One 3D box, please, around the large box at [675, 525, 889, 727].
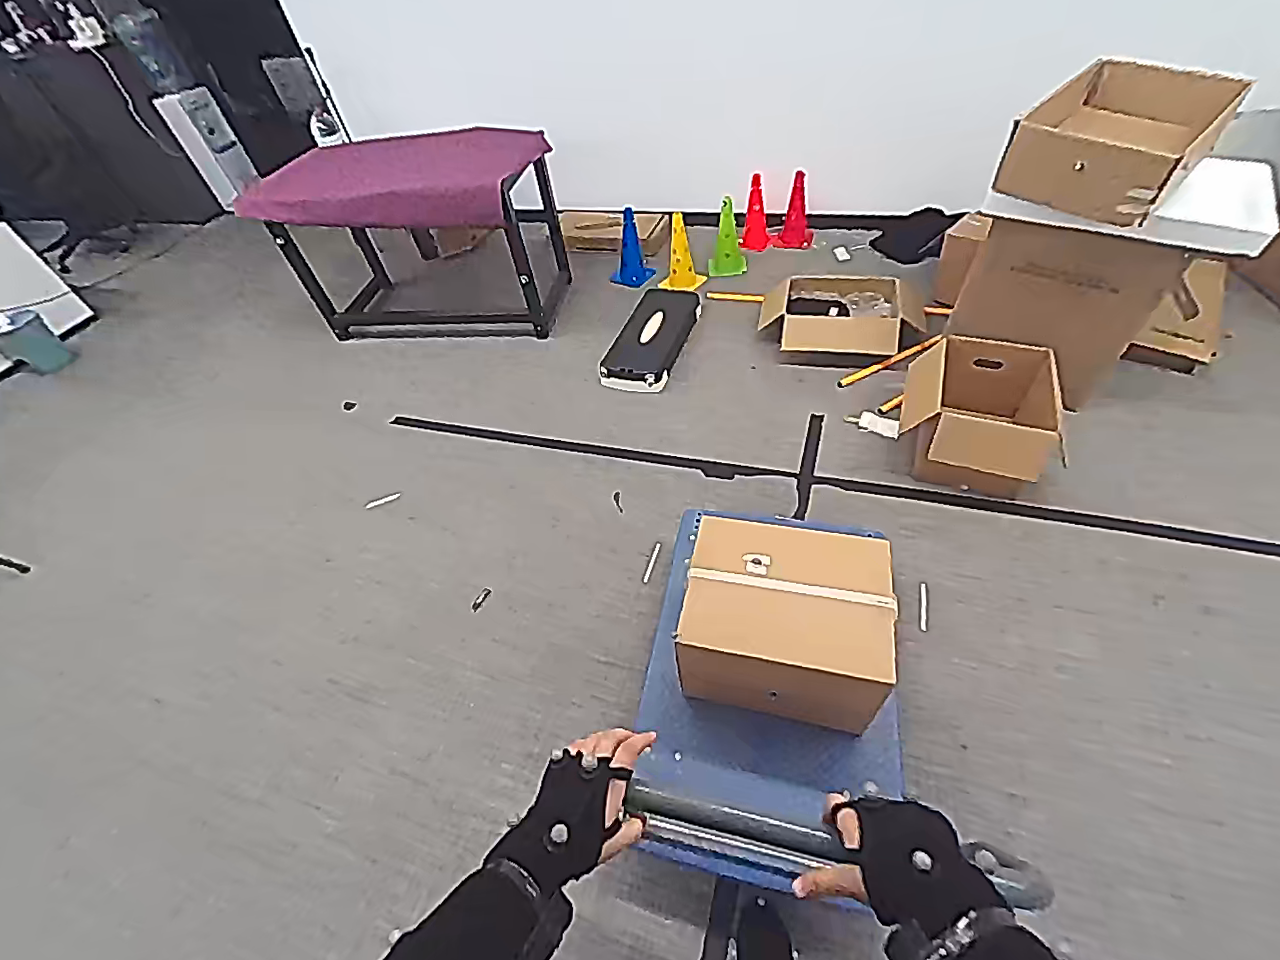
[{"bbox_3d":[0.315,0.331,1.233,0.408,0.320,0.320,6,50,15],"label":"large box"}]
